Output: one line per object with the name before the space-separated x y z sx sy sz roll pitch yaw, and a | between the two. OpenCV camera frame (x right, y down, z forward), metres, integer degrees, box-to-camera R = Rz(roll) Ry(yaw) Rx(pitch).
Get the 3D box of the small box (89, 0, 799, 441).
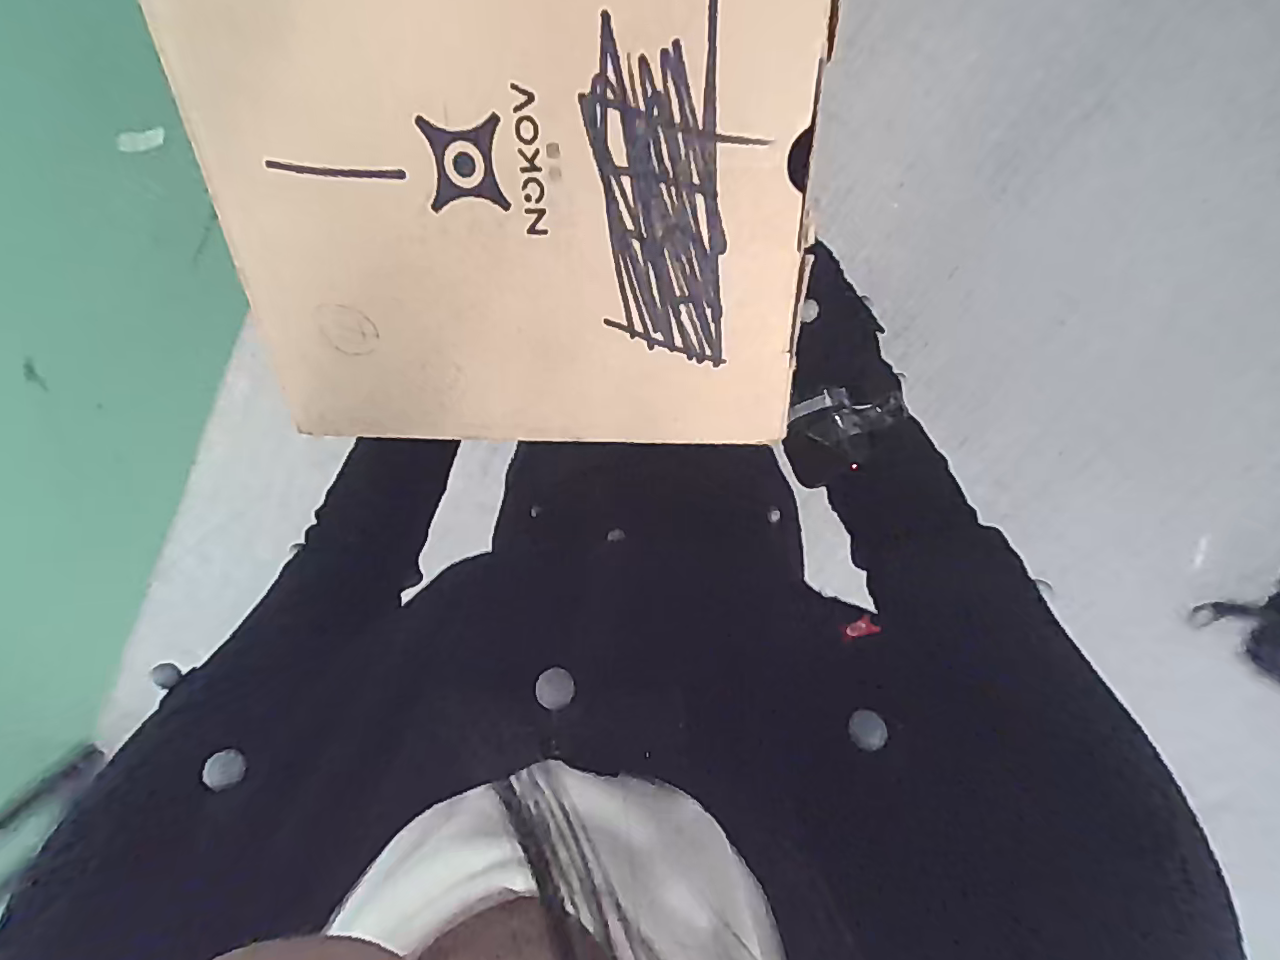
small box | -0.045 -0.128 0.214 0.179 0.176 0.168 4 120 3
